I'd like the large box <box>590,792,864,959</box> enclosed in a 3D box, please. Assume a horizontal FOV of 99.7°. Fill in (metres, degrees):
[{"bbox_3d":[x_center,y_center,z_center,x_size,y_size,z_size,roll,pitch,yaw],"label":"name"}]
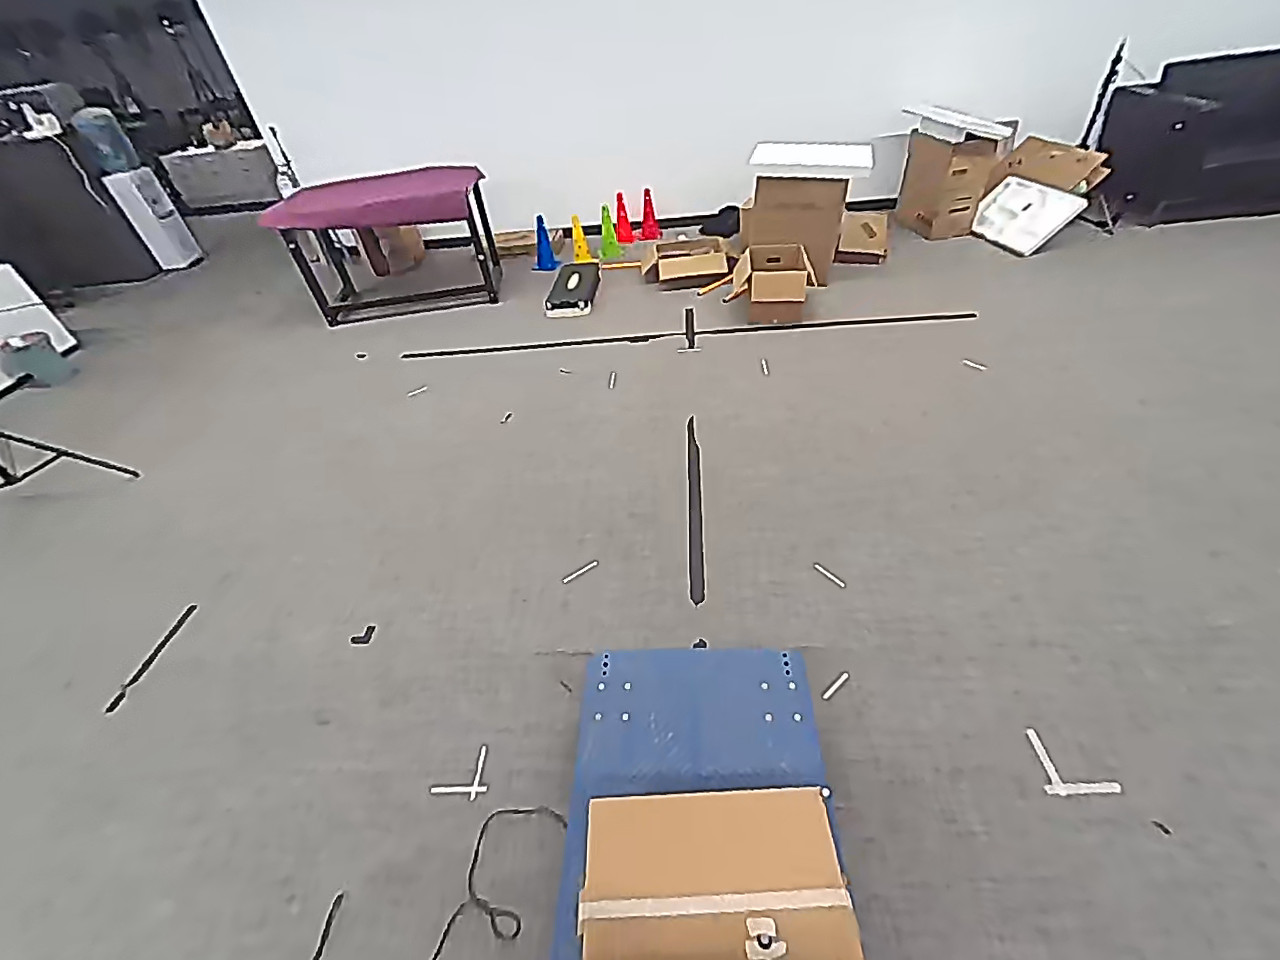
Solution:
[{"bbox_3d":[0.130,0.770,0.924,0.408,0.320,0.320,-4,42,2],"label":"large box"}]
